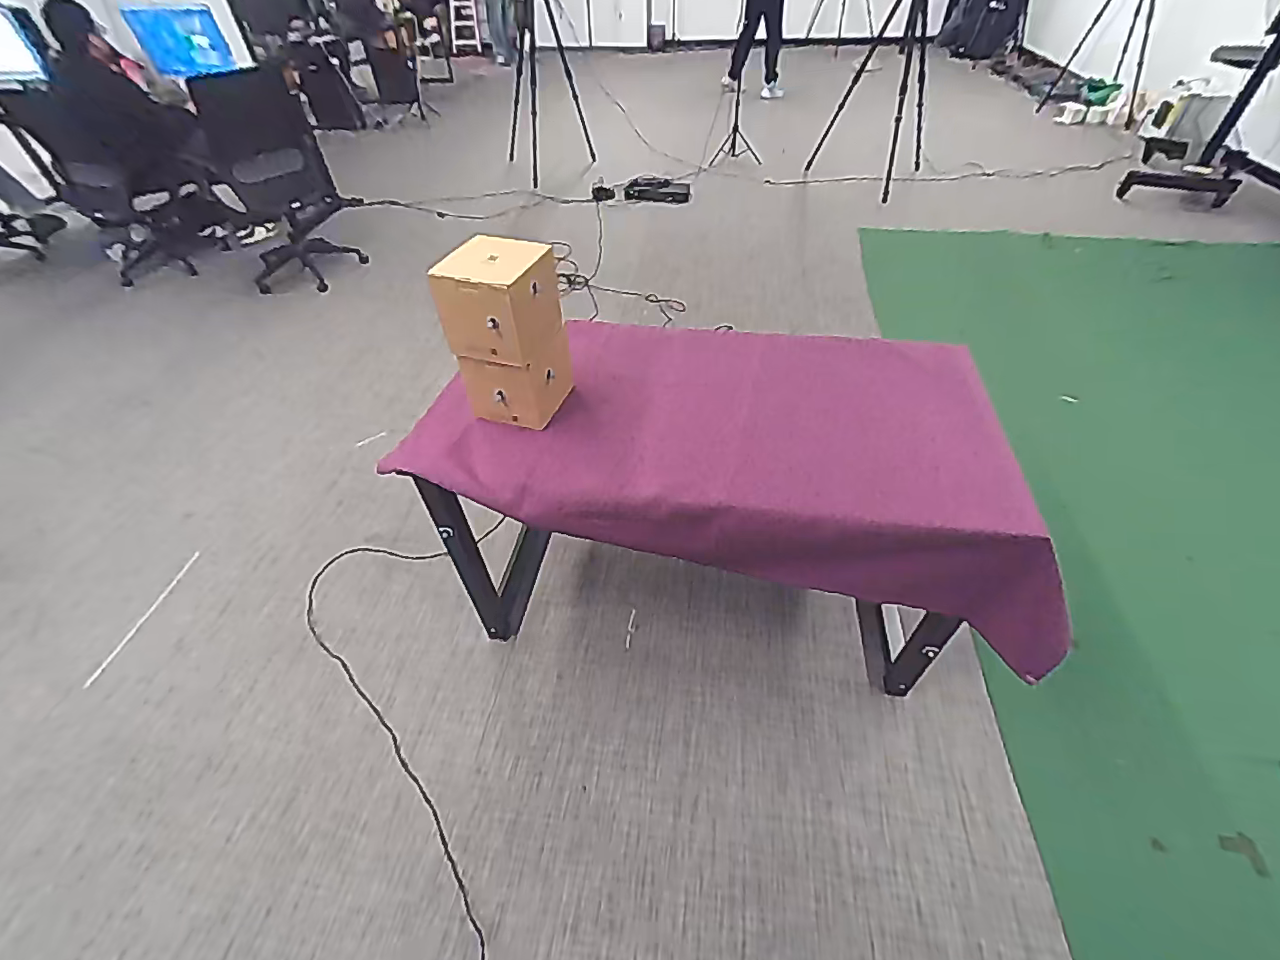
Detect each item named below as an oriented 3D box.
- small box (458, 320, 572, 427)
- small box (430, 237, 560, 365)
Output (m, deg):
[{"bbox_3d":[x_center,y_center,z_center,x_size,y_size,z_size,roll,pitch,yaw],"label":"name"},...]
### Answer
[{"bbox_3d":[-0.257,-0.237,1.166,0.168,0.176,0.179,13,49,13],"label":"small box"},{"bbox_3d":[-0.265,-0.344,1.042,0.168,0.176,0.179,14,48,14],"label":"small box"}]
